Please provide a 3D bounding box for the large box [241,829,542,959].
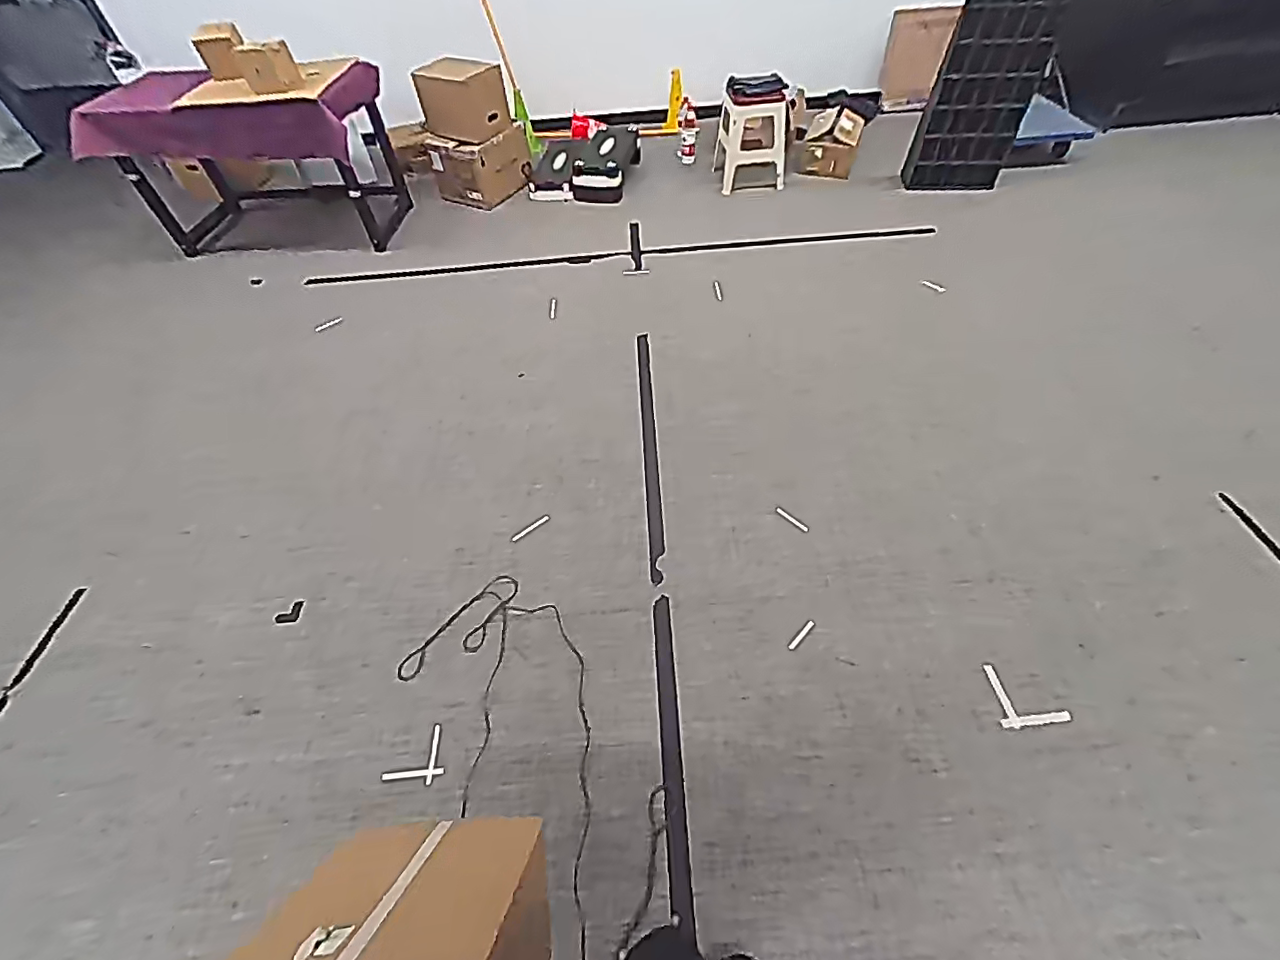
[{"bbox_3d":[-0.309,0.710,0.677,0.320,0.408,0.320,-5,85,2],"label":"large box"}]
